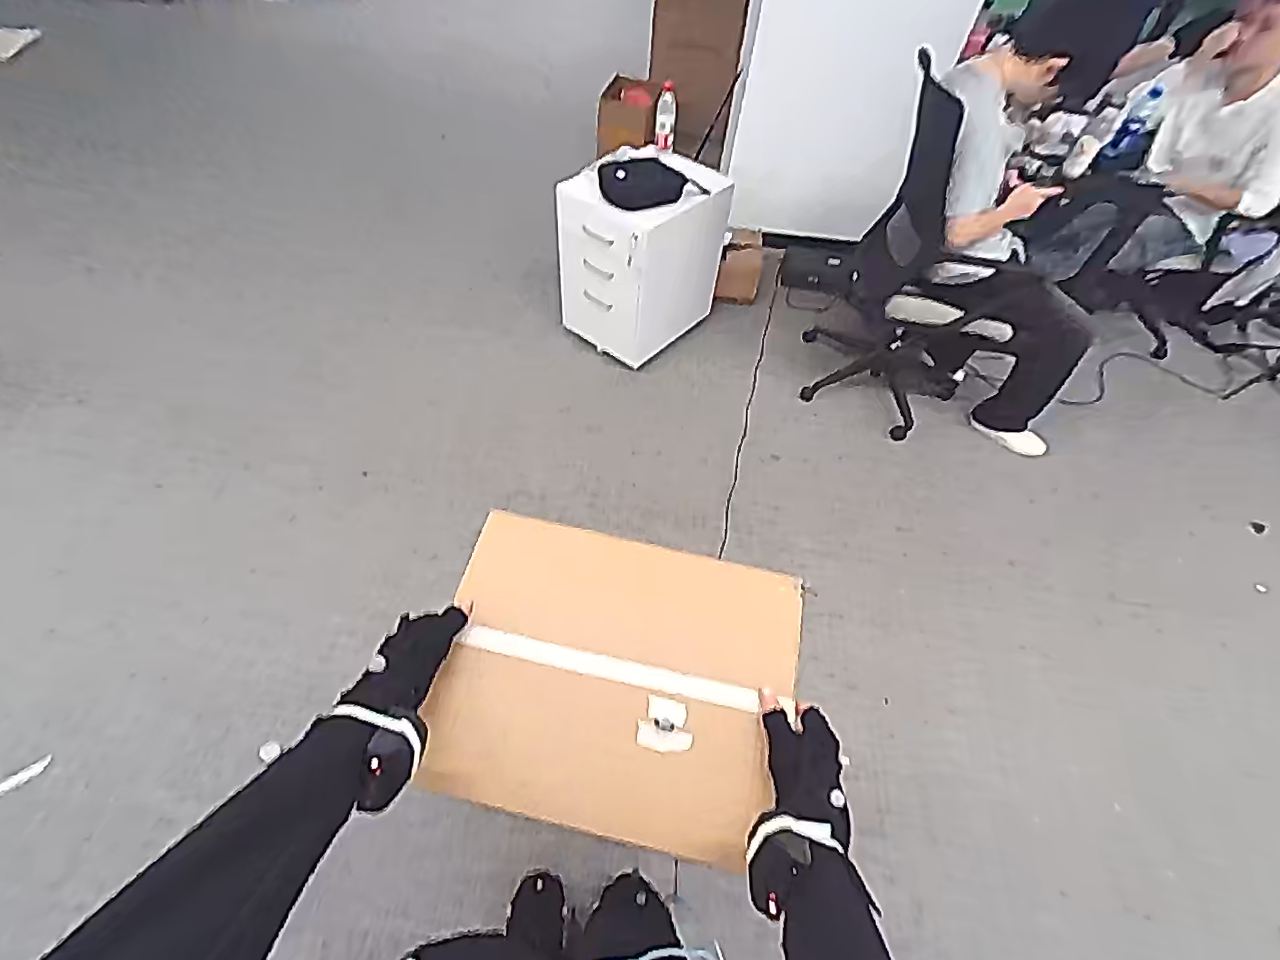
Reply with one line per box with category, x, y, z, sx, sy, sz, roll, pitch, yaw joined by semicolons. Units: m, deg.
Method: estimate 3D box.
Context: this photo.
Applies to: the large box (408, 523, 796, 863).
large box;-0.033;0.296;0.758;0.408;0.320;0.320;12;60;3
